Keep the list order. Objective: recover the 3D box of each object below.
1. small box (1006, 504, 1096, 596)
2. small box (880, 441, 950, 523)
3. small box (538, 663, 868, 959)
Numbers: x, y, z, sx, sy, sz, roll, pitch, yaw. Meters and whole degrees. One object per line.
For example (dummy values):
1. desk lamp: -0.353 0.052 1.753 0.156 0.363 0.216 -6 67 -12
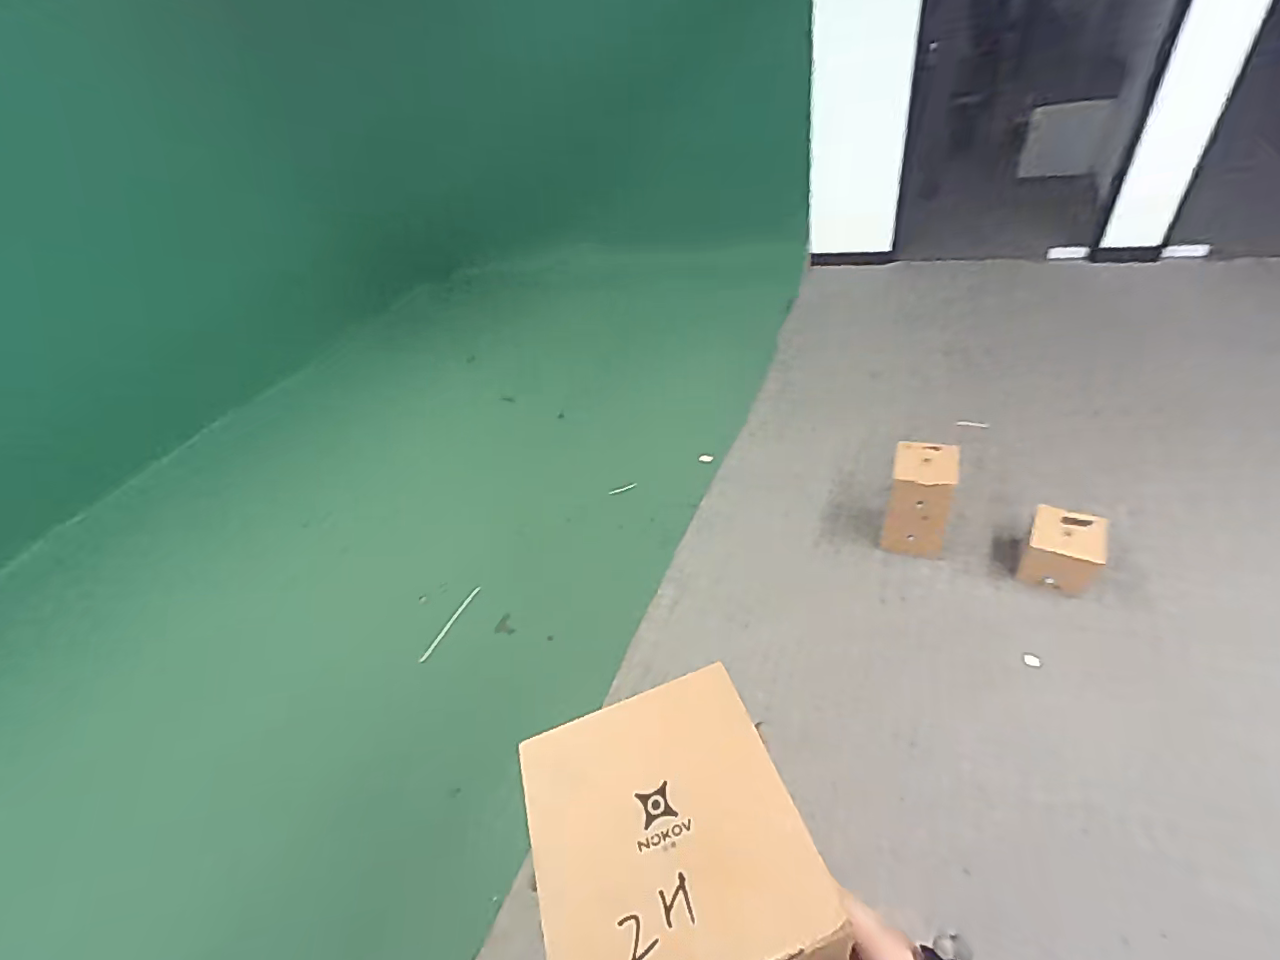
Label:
1. small box: 1.198 0.205 1.582 0.168 0.176 0.179 17 52 29
2. small box: 0.834 0.008 1.644 0.168 0.176 0.179 9 48 23
3. small box: 0.037 0.275 0.394 0.168 0.176 0.179 -19 39 -6
